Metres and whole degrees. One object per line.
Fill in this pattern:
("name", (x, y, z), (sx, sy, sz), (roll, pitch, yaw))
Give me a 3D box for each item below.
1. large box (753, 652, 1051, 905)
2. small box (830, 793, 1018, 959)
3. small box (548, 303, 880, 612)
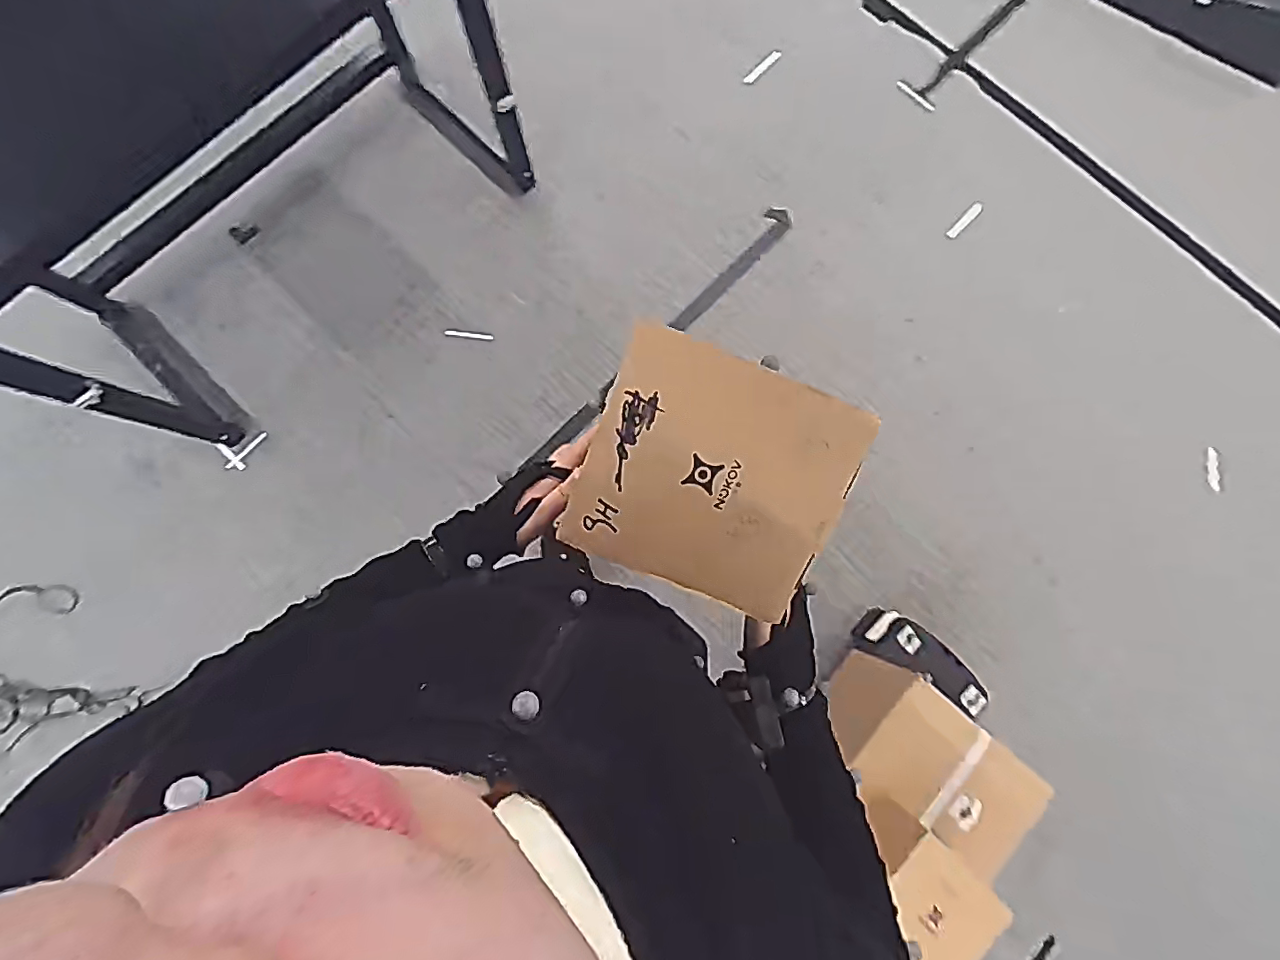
("large box", (0.496, 0.626, 1.105), (0.320, 0.320, 0.408), (41, 82, 4))
("small box", (0.427, 0.647, 0.853), (0.168, 0.176, 0.179), (45, 83, 6))
("small box", (0.047, -0.028, 0.436), (0.179, 0.176, 0.168), (22, 103, -5))
